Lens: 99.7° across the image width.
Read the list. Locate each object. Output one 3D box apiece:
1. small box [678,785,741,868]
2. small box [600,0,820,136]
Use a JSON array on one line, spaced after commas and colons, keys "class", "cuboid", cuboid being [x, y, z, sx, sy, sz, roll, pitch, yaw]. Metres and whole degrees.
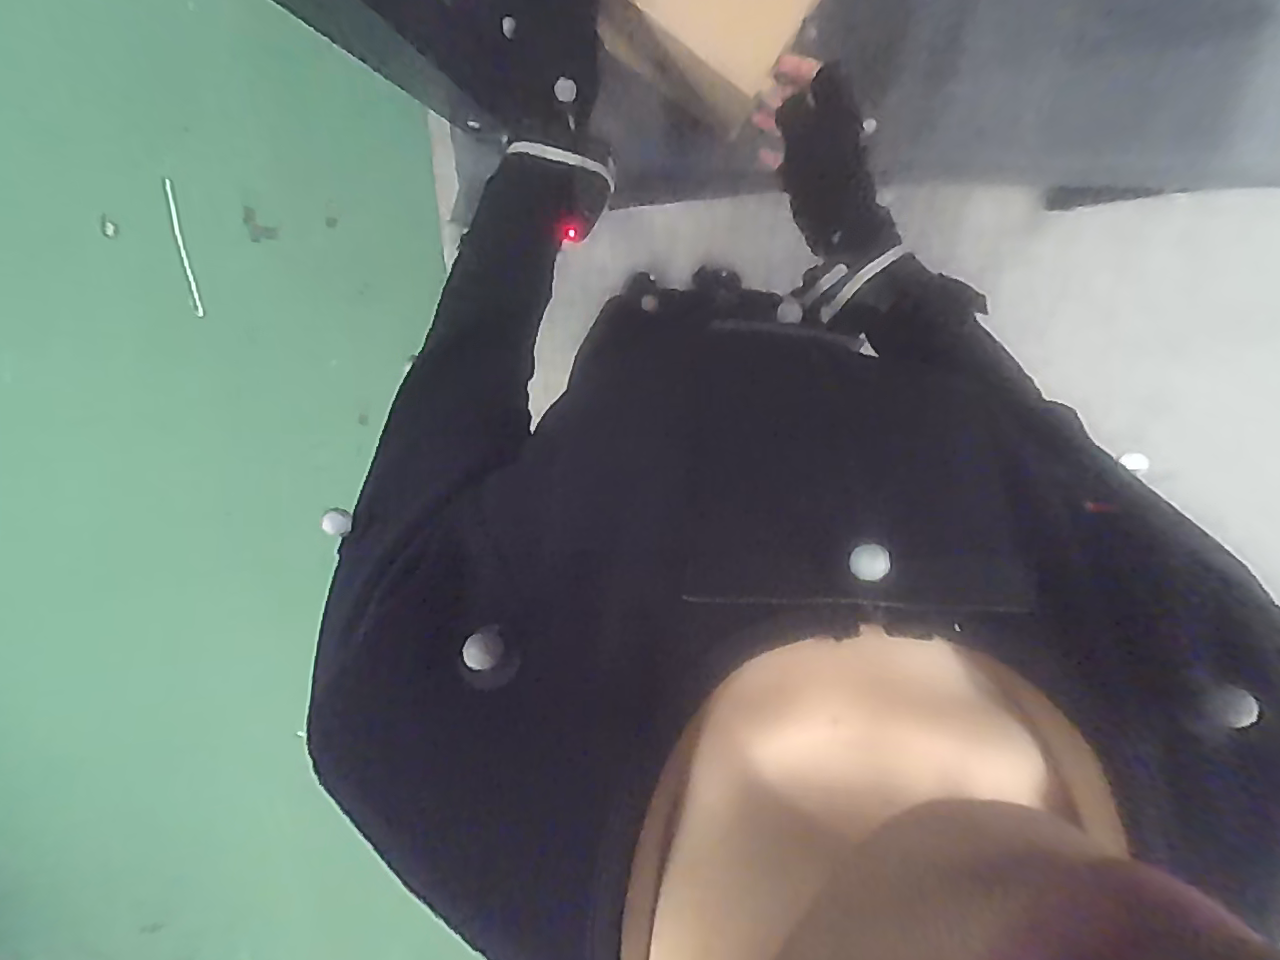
[{"class": "small box", "cuboid": [0.238, 1.208, 1.897, 0.179, 0.176, 0.168, 15, 110, -3]}, {"class": "small box", "cuboid": [0.075, -0.454, 0.487, 0.168, 0.176, 0.179, 32, 108, -11]}]
